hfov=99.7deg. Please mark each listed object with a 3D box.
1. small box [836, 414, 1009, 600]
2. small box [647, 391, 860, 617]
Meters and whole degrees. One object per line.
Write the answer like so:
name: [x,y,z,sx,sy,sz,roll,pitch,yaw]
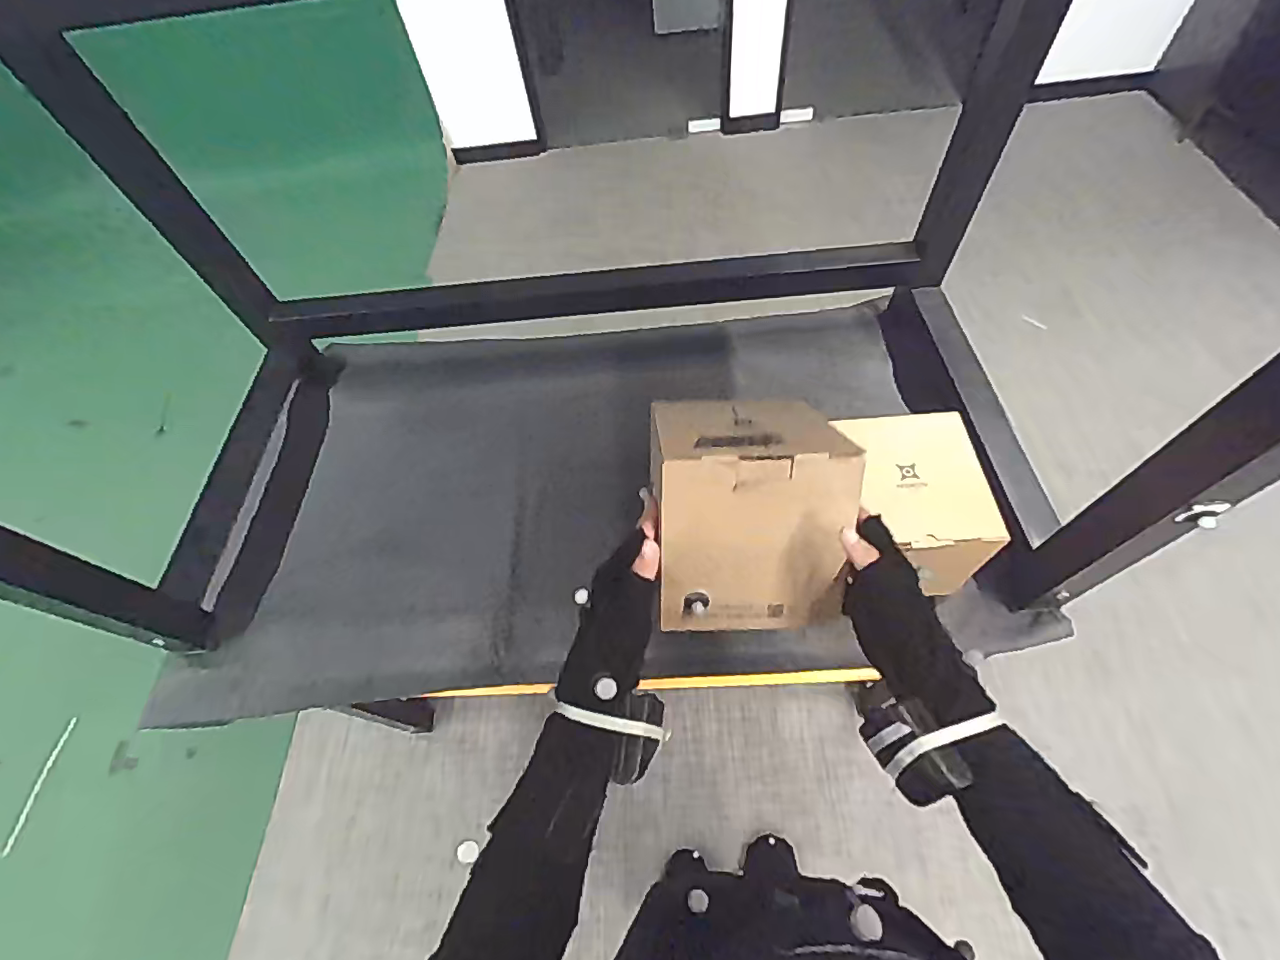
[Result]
small box: [0.319,0.038,0.692,0.168,0.176,0.179,-4,57,5]
small box: [0.092,0.018,0.524,0.168,0.176,0.179,-1,22,-1]
